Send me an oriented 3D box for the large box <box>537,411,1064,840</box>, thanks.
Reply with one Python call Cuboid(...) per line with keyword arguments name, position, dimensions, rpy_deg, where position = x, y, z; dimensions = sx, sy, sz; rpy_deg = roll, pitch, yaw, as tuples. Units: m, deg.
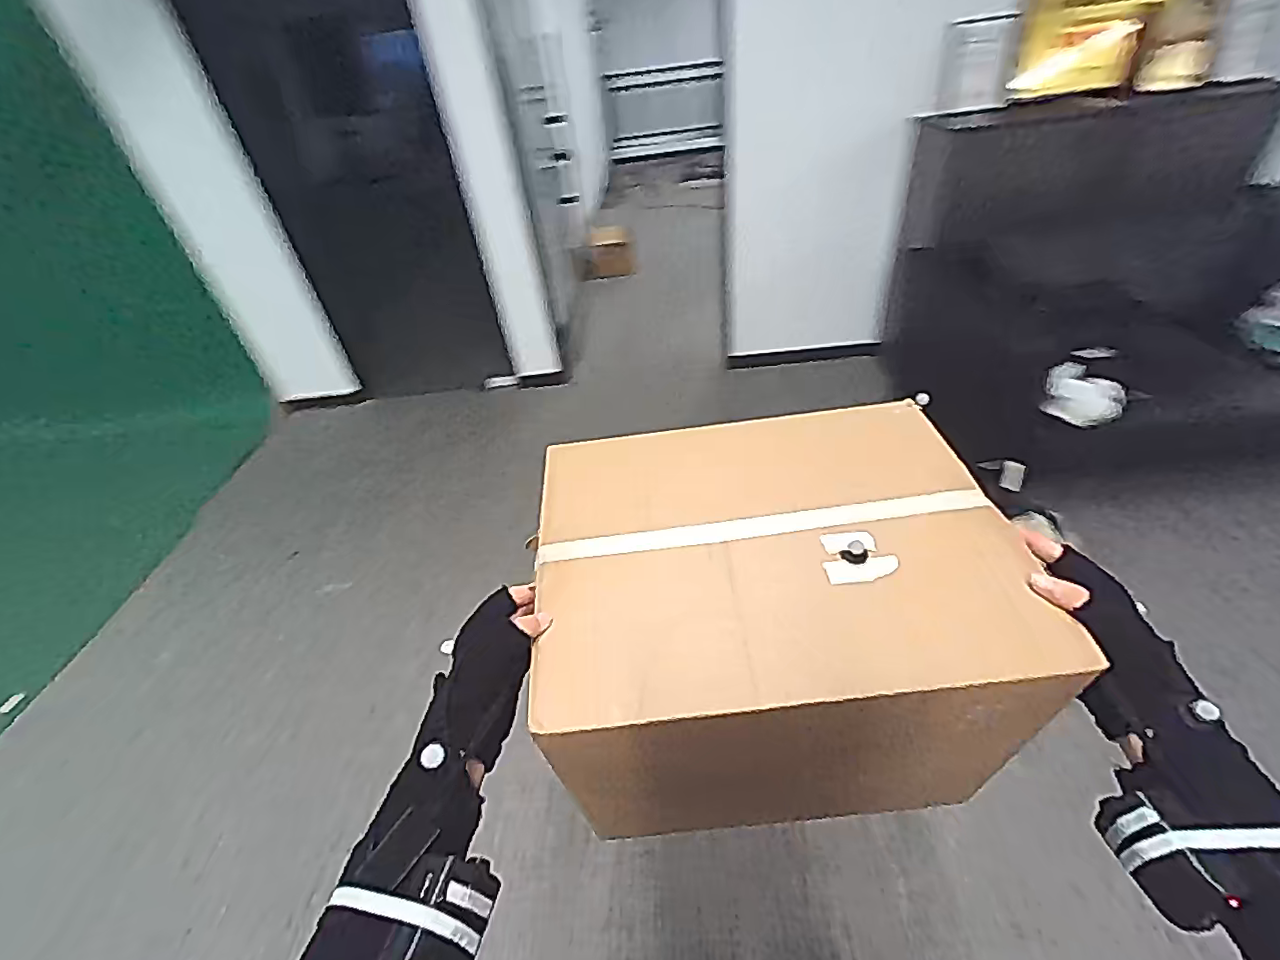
Cuboid(name="large box", position=(0.116, 0.159, 0.602), dimensions=(0.408, 0.320, 0.320), rpy_deg=(-7, 44, -1))
